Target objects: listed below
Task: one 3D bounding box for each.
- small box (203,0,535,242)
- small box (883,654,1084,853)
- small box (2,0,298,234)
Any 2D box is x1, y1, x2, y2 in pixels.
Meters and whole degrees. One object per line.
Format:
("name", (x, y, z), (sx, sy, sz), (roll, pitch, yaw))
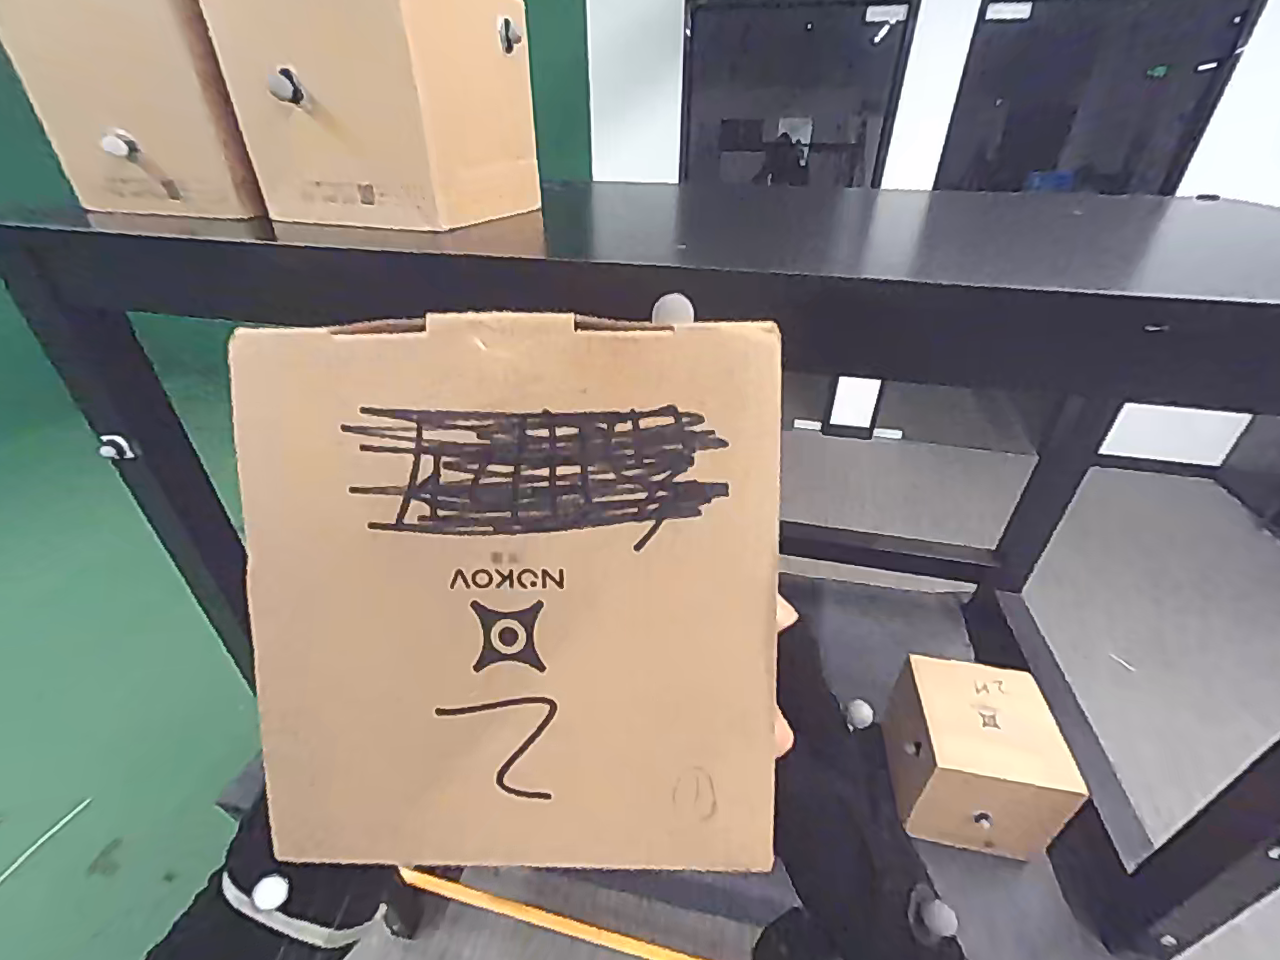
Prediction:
("small box", (-0.200, -0.306, 0.458), (0.168, 0.176, 0.179), (10, 33, 14))
("small box", (0.454, 0.376, 0.750), (0.168, 0.176, 0.179), (7, 32, 9))
("small box", (-0.385, -0.334, 0.493), (0.168, 0.176, 0.179), (7, 34, 9))
